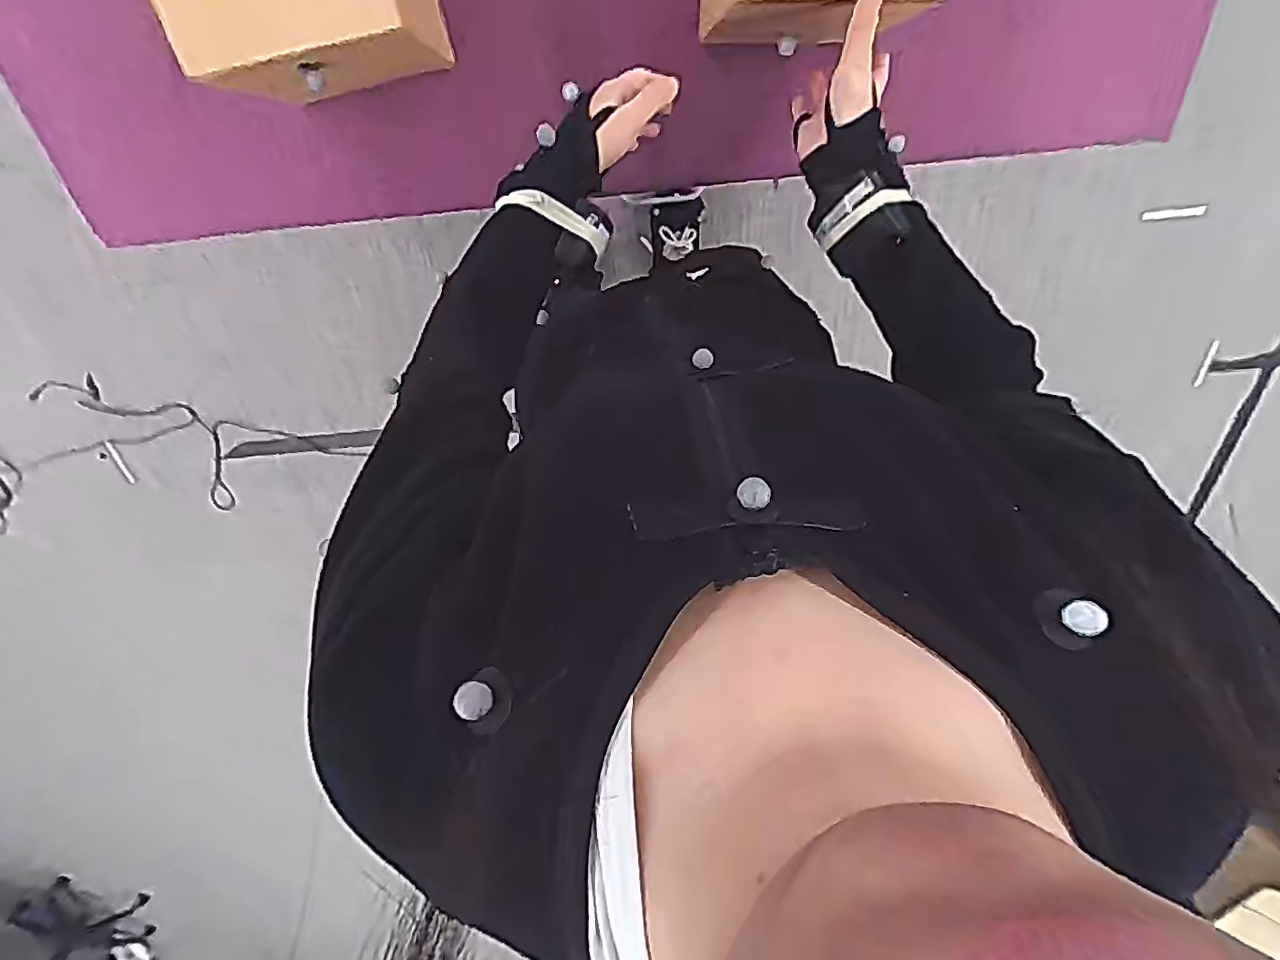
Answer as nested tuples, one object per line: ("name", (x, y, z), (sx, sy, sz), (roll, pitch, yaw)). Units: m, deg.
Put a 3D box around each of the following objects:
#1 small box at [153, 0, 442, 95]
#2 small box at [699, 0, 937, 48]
("small box", (-0.280, -0.434, 0.439), (0.179, 0.176, 0.168), (-10, 120, 3))
("small box", (0.143, -0.476, 0.435), (0.168, 0.176, 0.179), (-1, 121, -2))
